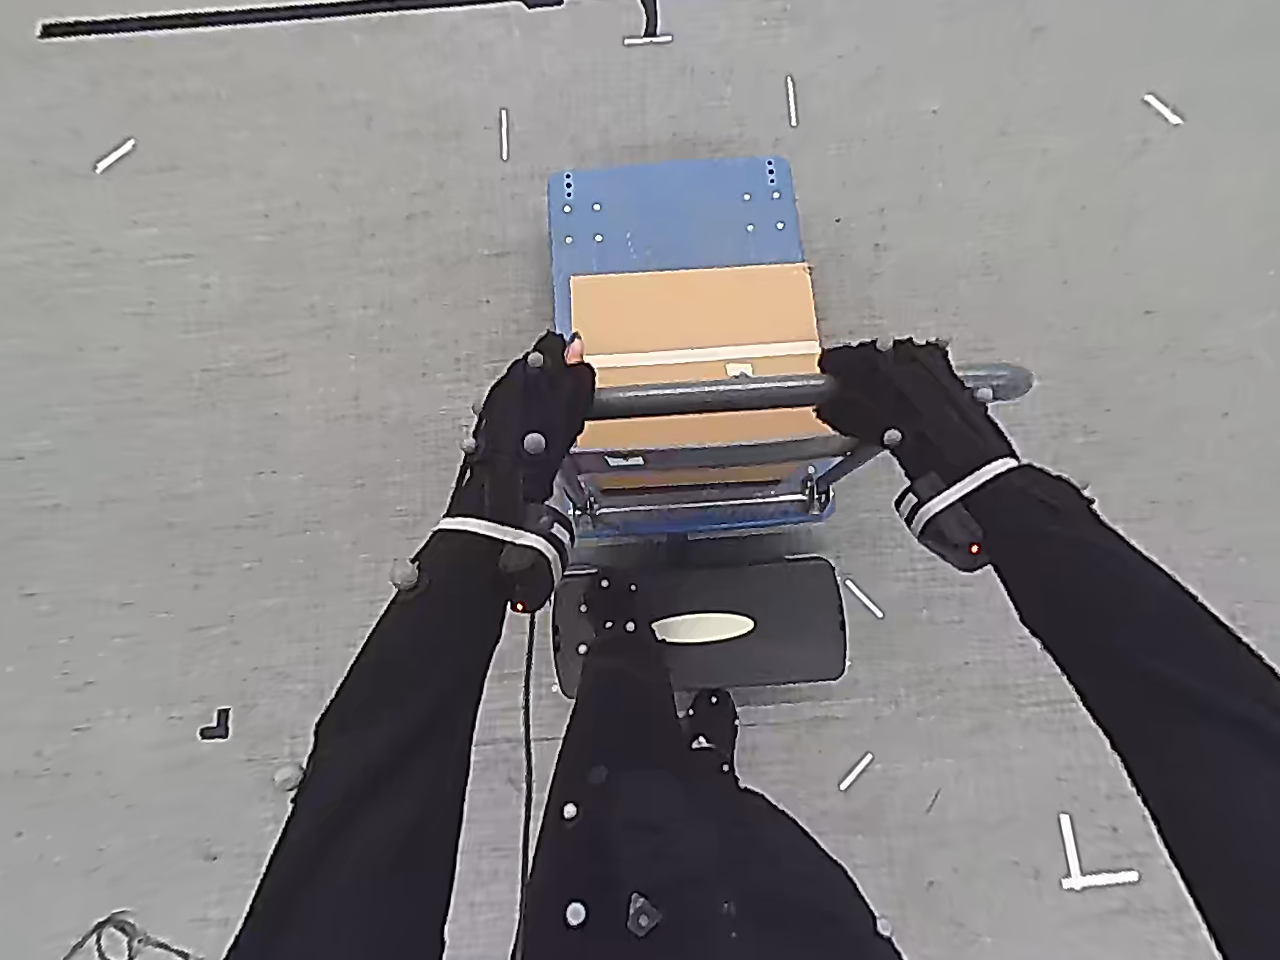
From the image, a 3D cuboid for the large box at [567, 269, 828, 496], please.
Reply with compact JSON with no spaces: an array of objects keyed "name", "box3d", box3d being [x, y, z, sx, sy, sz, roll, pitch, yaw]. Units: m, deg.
[{"name":"large box","box3d":[0.085,-0.160,1.016,0.408,0.320,0.320,-4,79,-1]}]
